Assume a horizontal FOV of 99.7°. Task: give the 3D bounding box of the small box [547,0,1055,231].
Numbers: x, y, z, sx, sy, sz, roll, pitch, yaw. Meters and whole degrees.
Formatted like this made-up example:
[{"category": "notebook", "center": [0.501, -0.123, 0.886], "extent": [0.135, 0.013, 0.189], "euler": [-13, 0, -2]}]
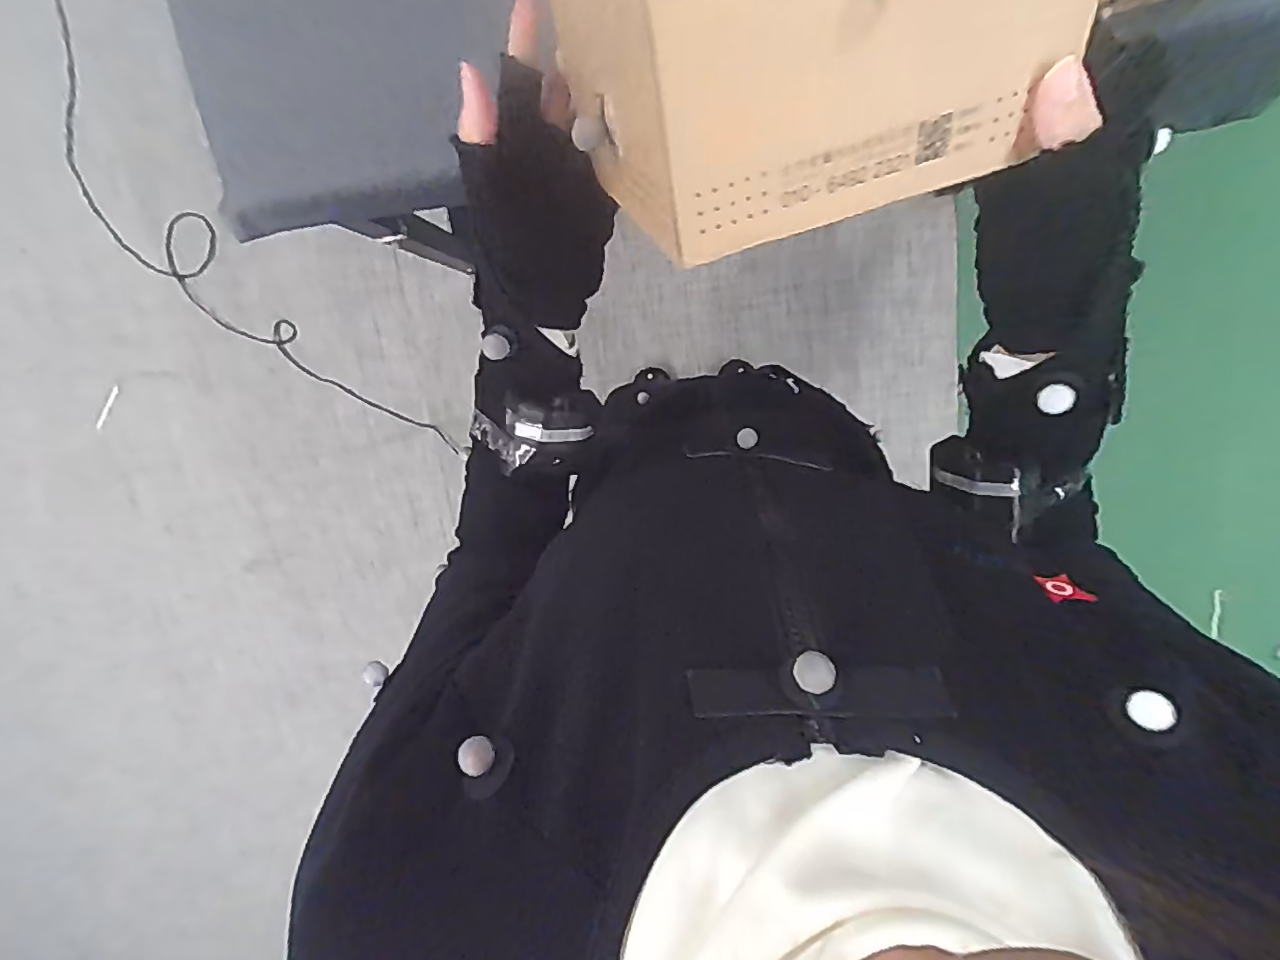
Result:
[{"category": "small box", "center": [0.052, -0.226, 0.228], "extent": [0.168, 0.179, 0.176], "euler": [-20, 134, -6]}]
